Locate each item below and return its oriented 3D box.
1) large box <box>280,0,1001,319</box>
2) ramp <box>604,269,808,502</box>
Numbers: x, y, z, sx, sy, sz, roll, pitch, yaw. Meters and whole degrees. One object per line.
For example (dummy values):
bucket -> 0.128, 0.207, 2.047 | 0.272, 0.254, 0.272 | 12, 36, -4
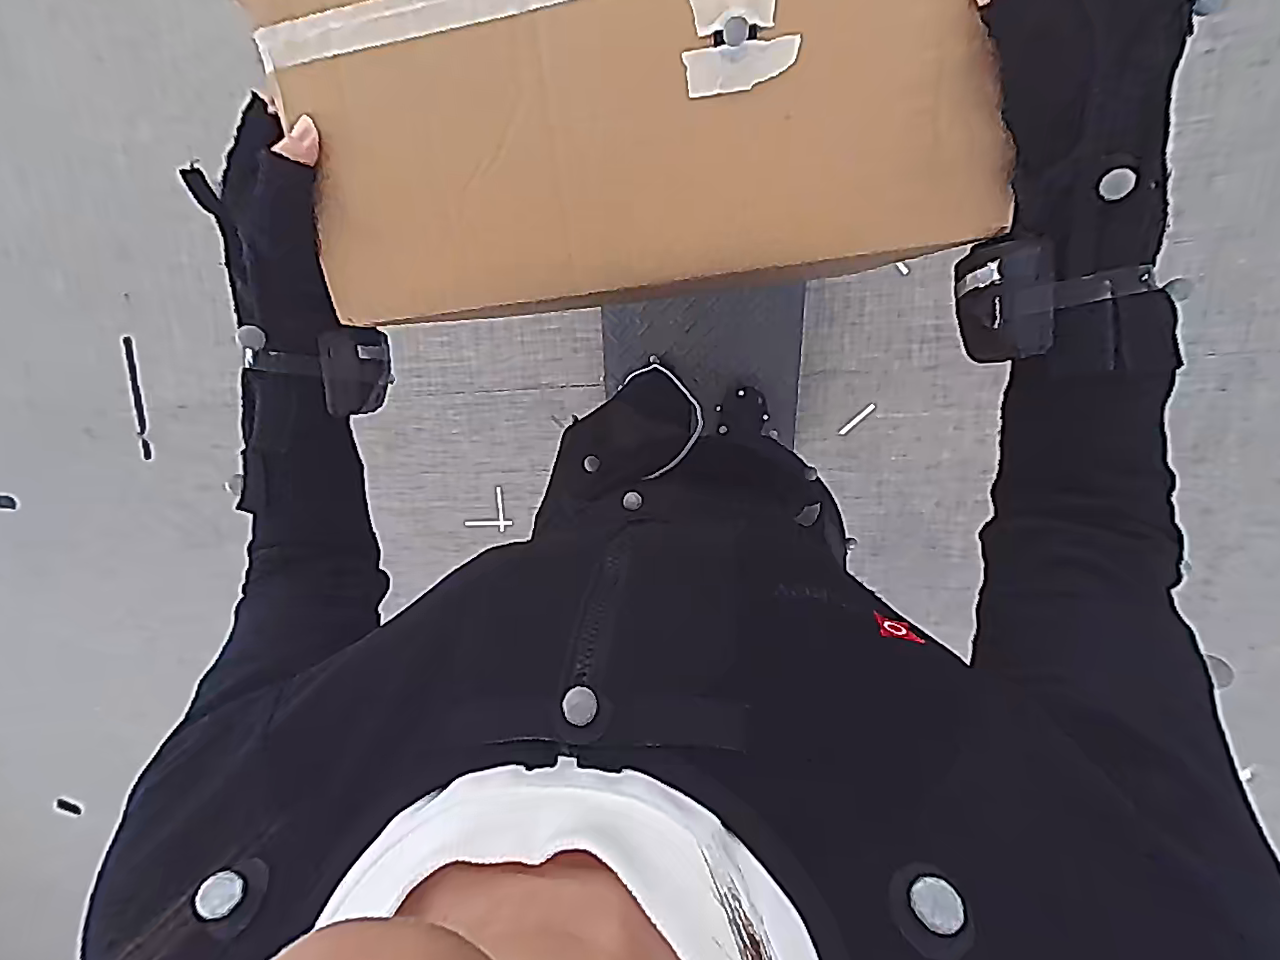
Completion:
large box -> 0.003, -0.319, 0.436 | 0.408, 0.320, 0.320 | -5, 107, 10
ramp -> 0.152, -0.411, 1.312 | 0.509, 0.206, 0.991 | 0, 102, 10
